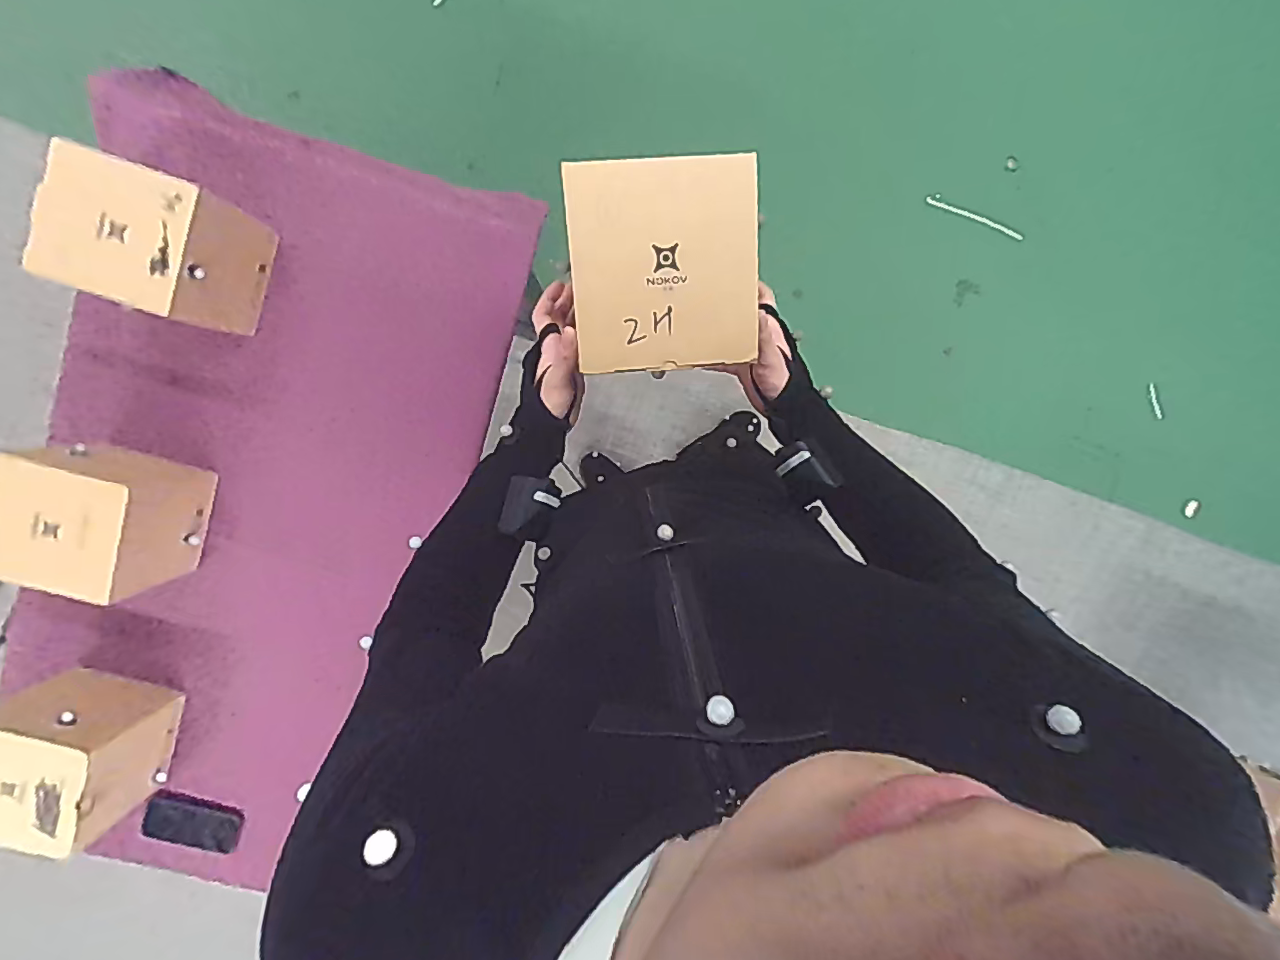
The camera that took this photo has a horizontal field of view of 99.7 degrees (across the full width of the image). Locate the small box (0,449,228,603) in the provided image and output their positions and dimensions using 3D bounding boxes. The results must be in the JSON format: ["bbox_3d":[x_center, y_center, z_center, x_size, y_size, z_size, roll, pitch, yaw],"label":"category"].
[{"bbox_3d":[-0.758,0.055,0.785,0.179,0.176,0.168,16,96,-5],"label":"small box"}]

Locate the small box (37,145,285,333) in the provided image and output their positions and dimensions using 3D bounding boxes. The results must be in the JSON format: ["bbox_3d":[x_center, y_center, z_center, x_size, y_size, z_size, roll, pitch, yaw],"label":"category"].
[{"bbox_3d":[-0.643,-0.314,0.747,0.179,0.176,0.168,18,96,-4],"label":"small box"}]

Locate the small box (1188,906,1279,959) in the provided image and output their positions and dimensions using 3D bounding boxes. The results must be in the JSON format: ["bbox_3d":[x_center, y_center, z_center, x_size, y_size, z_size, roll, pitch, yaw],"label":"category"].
[{"bbox_3d":[1.512,1.187,1.304,0.179,0.176,0.168,23,96,-3],"label":"small box"}]

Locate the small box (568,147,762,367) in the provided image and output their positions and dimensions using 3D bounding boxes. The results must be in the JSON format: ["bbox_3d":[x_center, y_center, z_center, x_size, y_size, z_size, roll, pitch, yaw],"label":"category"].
[{"bbox_3d":[0.020,-0.209,0.545,0.168,0.176,0.179,-4,105,-2],"label":"small box"}]

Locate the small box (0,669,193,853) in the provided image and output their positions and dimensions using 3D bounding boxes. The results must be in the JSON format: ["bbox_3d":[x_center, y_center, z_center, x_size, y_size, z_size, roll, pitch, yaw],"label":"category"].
[{"bbox_3d":[-0.837,0.411,0.820,0.179,0.176,0.168,16,95,-3],"label":"small box"}]
